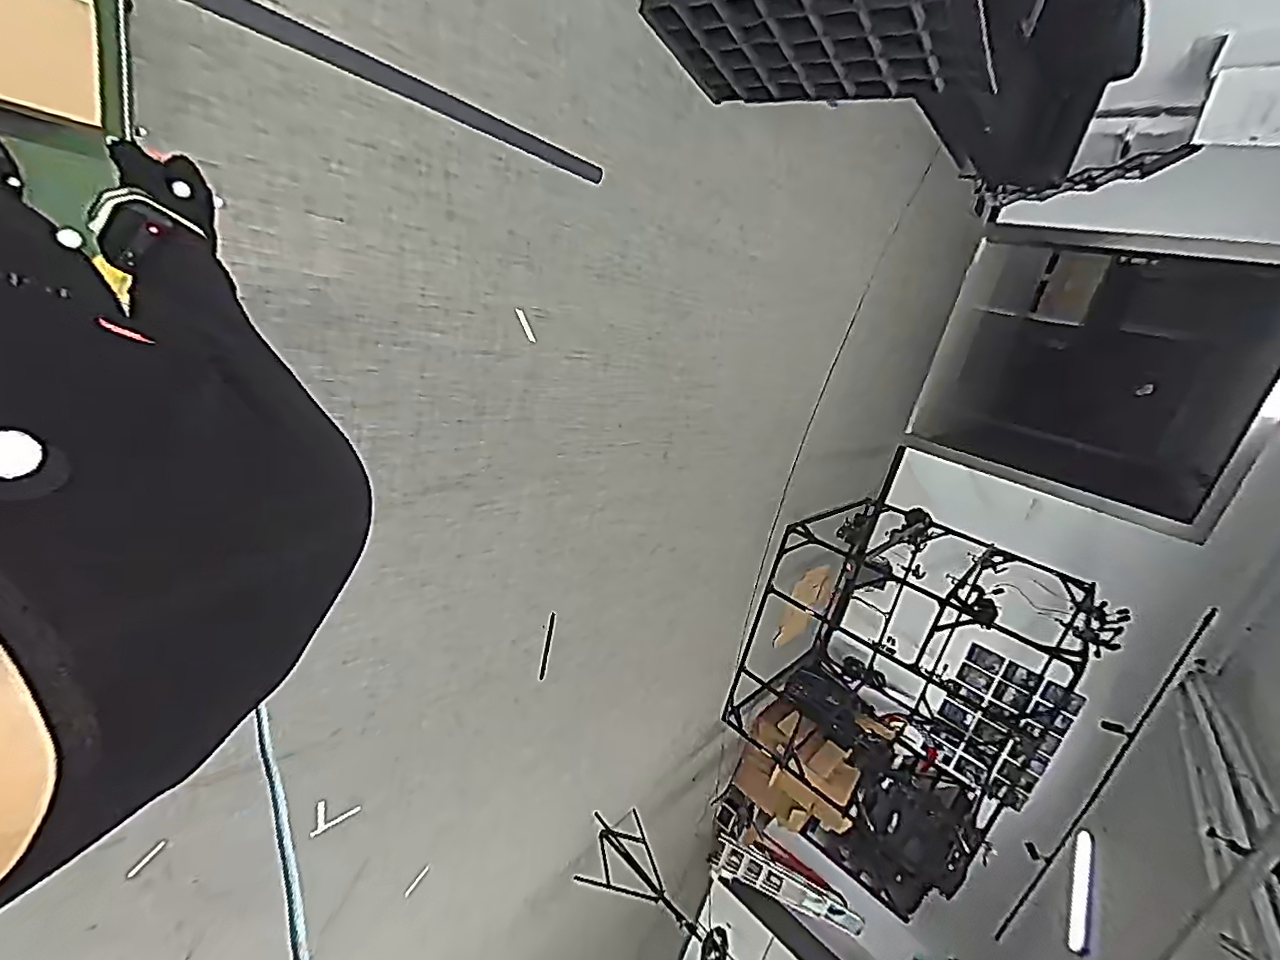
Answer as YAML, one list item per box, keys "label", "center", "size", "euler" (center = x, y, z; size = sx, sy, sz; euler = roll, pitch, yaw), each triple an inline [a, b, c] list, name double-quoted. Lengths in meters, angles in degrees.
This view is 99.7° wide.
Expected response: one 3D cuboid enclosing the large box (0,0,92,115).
- label: "large box"
  center: [-0.987, -0.693, 0.654]
  size: [0.408, 0.320, 0.320]
  euler: [-10, 120, -50]
